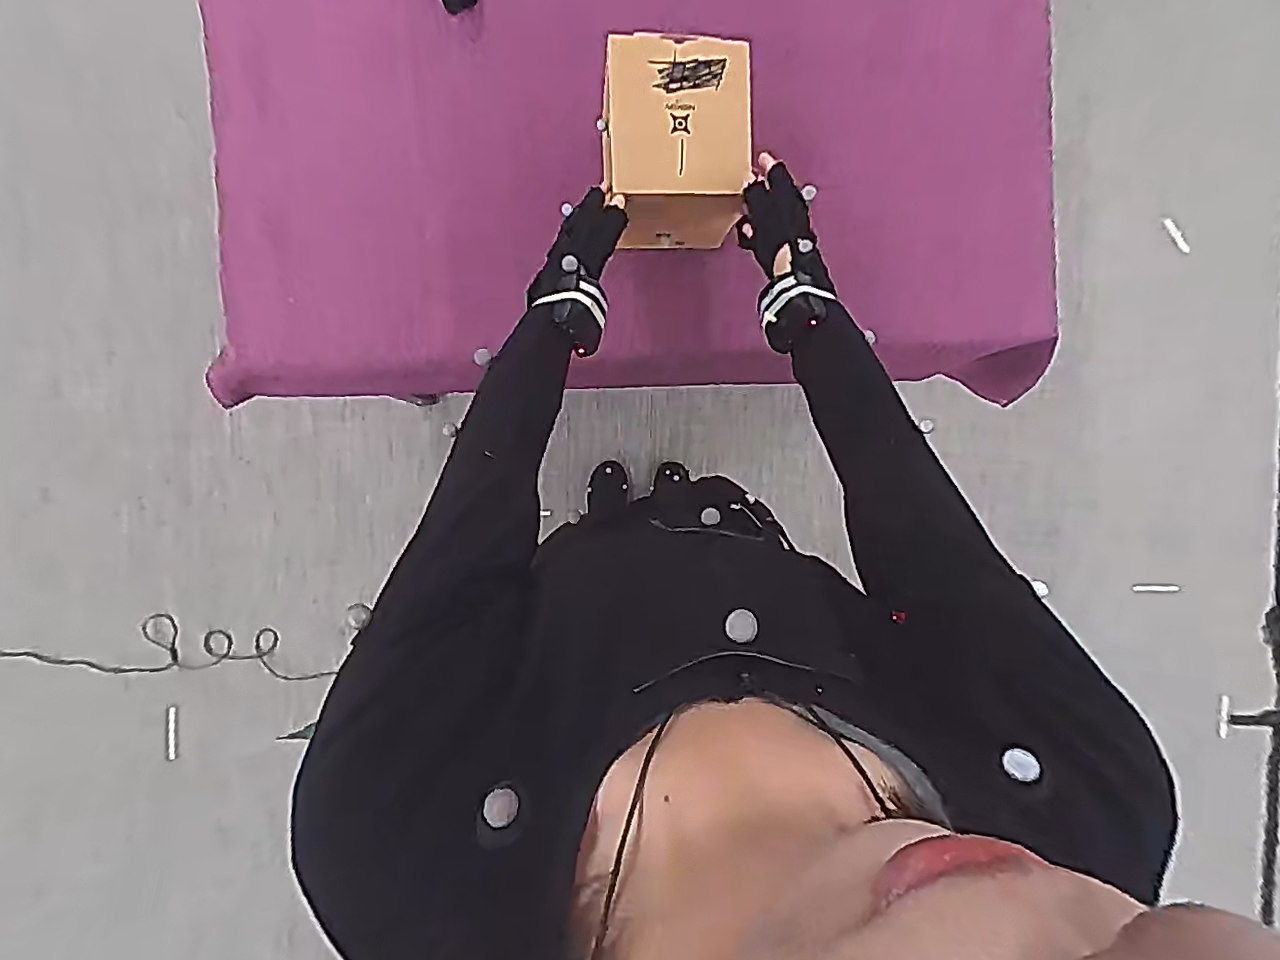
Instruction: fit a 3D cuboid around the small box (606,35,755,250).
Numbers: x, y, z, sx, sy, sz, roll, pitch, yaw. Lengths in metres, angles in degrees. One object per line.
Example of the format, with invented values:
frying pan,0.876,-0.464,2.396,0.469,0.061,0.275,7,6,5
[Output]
small box,0.042,-0.419,0.699,0.168,0.176,0.179,-2,92,-5
